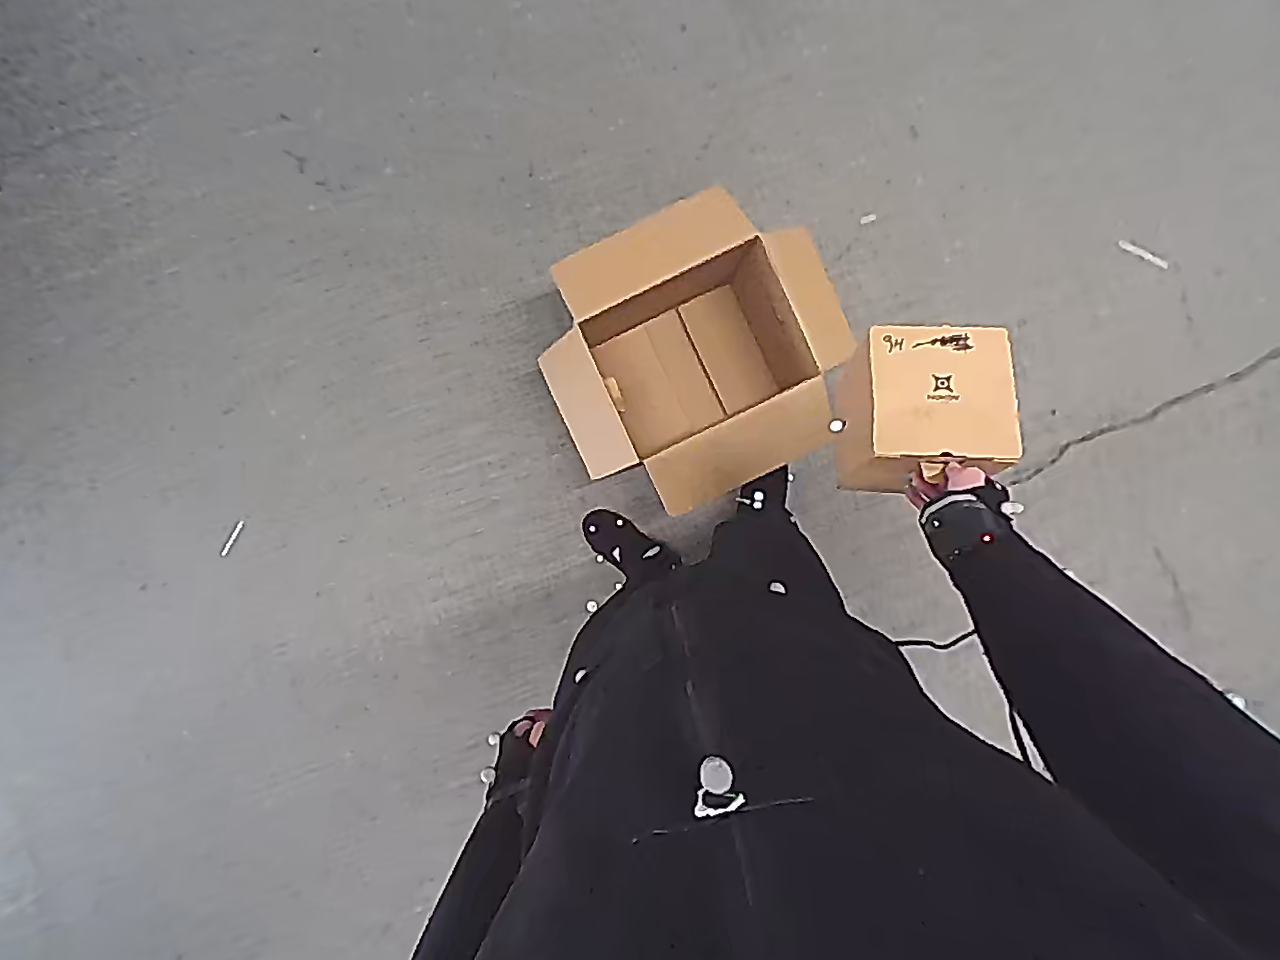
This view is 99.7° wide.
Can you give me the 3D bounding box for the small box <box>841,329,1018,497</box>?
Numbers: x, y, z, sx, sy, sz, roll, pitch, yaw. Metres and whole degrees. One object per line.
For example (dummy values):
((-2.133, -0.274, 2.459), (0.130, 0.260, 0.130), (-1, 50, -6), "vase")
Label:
((0.376, -0.082, 0.730), (0.168, 0.176, 0.179), (4, 74, 9), "small box")
